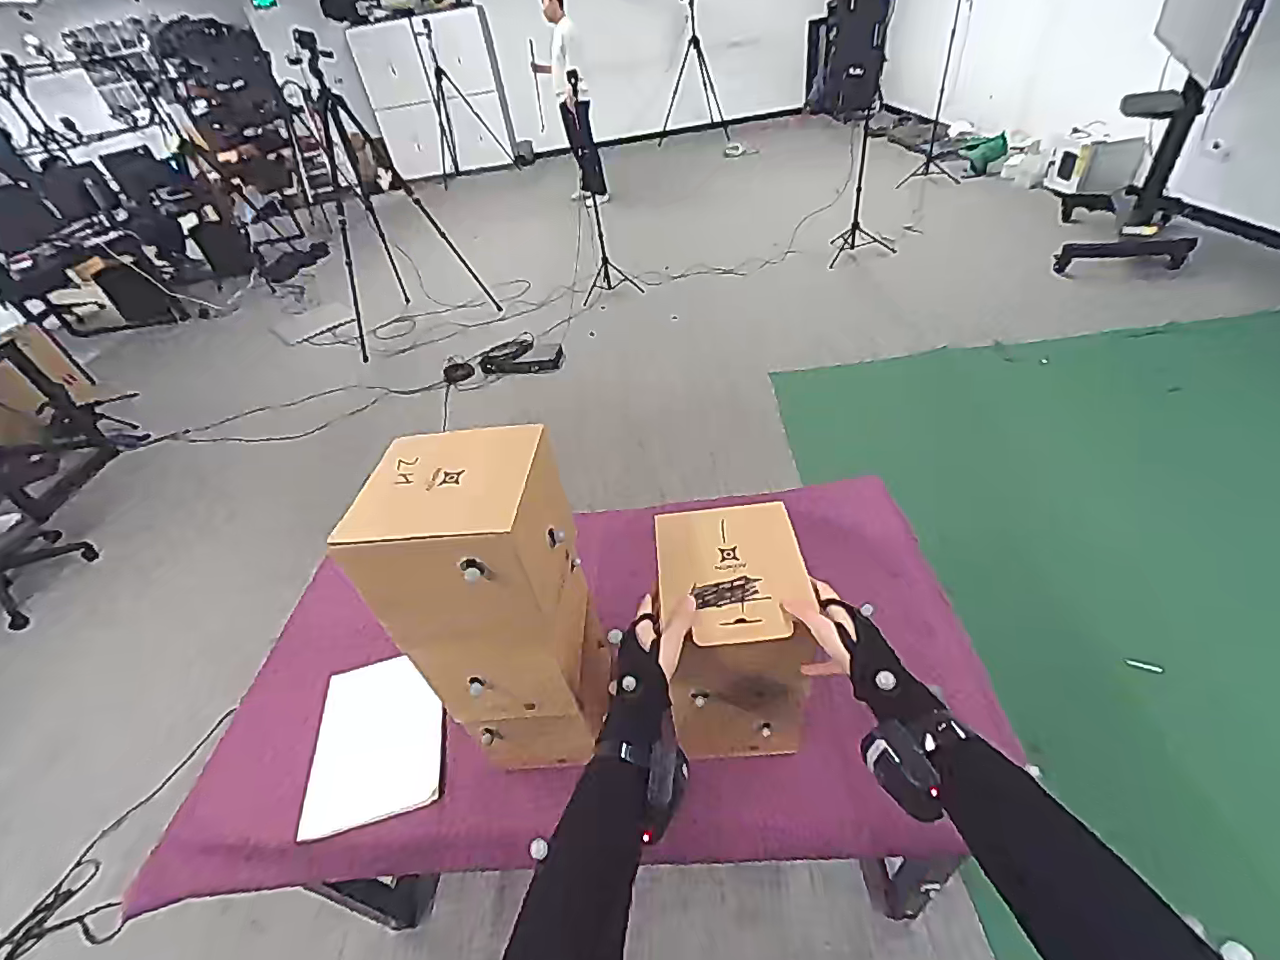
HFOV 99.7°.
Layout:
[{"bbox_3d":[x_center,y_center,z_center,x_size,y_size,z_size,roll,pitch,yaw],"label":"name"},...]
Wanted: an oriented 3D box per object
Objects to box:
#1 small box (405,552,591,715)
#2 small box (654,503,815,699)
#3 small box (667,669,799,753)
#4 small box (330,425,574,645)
[{"bbox_3d":[-0.163,0.183,0.692,0.168,0.176,0.179,-6,39,6],"label":"small box"},{"bbox_3d":[0.110,0.154,0.670,0.168,0.176,0.179,-6,39,4],"label":"small box"},{"bbox_3d":[0.128,0.275,0.778,0.168,0.176,0.179,-5,39,5],"label":"small box"},{"bbox_3d":[-0.177,0.061,0.581,0.179,0.176,0.168,-5,39,7],"label":"small box"}]
